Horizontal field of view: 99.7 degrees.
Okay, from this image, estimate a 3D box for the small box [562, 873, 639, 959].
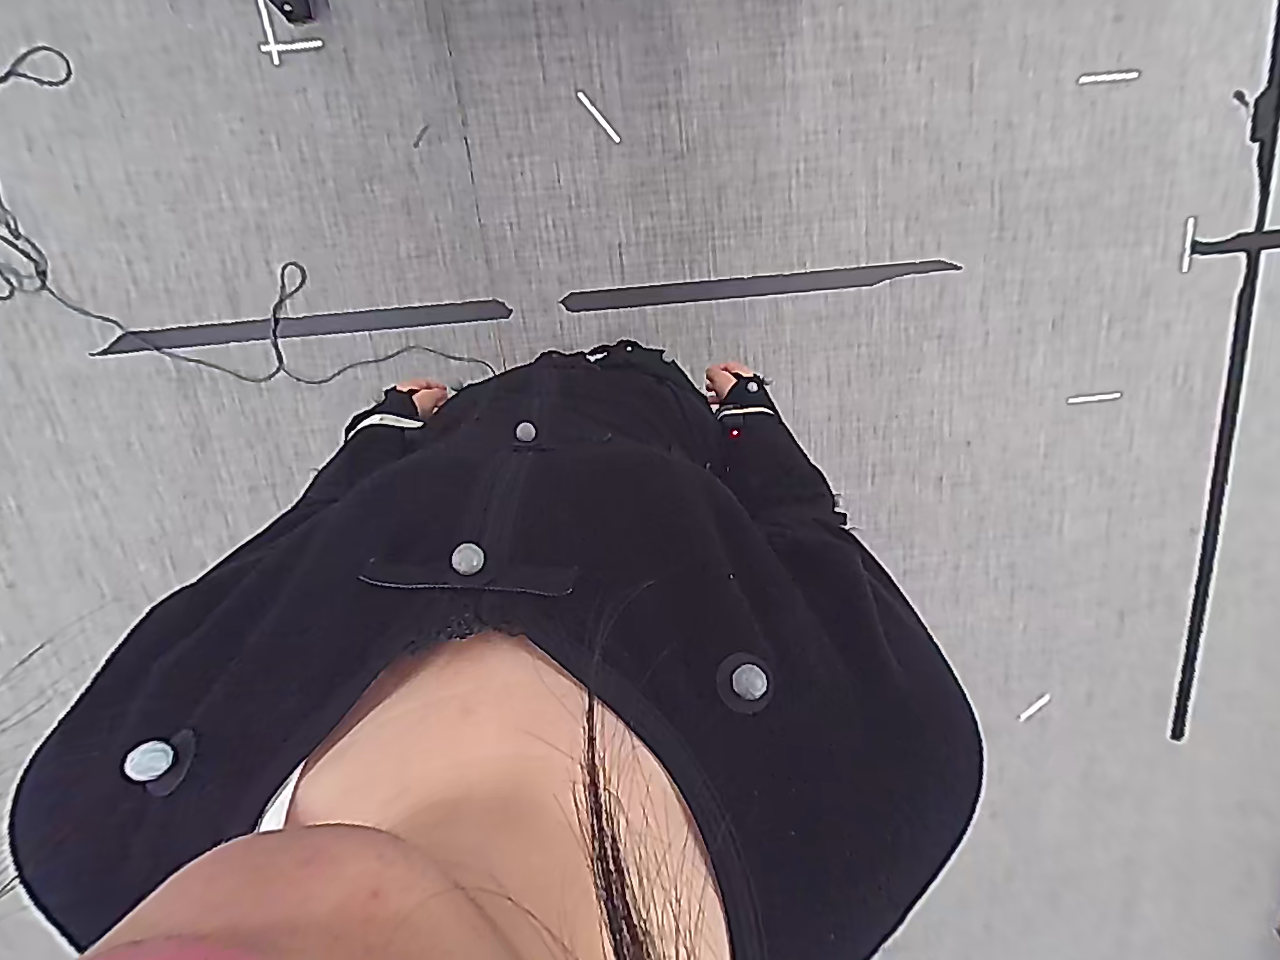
[{"bbox_3d":[-0.099,1.154,1.391,0.179,0.176,0.168,-7,102,-1],"label":"small box"}]
